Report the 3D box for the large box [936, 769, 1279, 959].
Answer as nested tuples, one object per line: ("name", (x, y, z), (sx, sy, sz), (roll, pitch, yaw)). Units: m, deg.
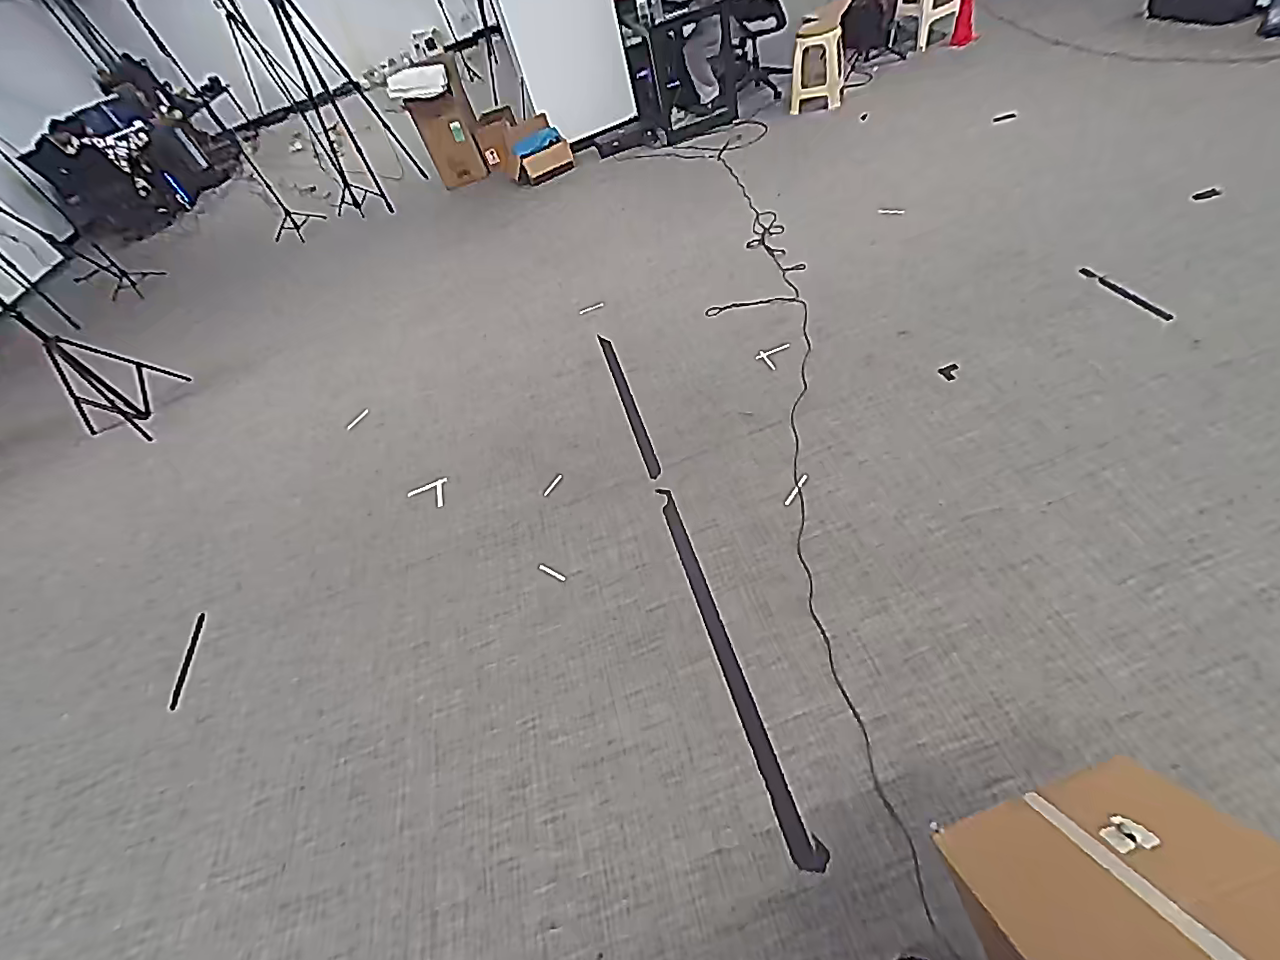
("large box", (0.636, 0.618, 0.607), (0.320, 0.408, 0.320), (-23, 85, 2))
